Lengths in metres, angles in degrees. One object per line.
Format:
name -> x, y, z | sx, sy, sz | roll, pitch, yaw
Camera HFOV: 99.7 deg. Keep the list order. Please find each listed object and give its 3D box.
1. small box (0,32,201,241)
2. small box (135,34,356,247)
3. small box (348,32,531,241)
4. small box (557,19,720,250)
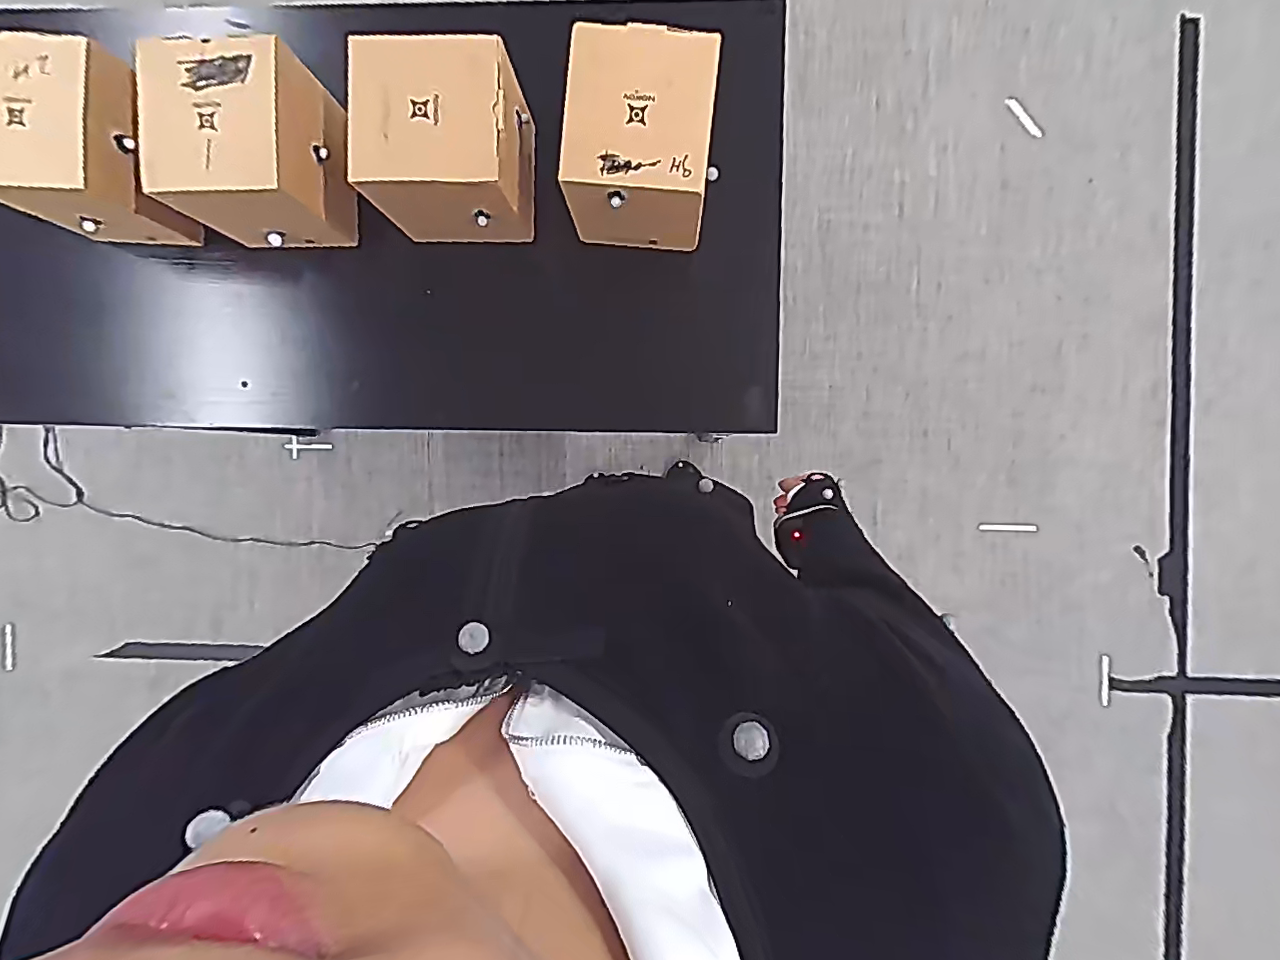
small box -> -0.713, -0.431, 0.704 | 0.168, 0.176, 0.179 | 3, 92, 1
small box -> -0.489, -0.421, 0.695 | 0.168, 0.176, 0.179 | 0, 93, 1
small box -> -0.241, -0.420, 0.688 | 0.179, 0.176, 0.168 | 1, 90, 3
small box -> 0.000, -0.416, 0.676 | 0.168, 0.176, 0.179 | 6, 91, 3
